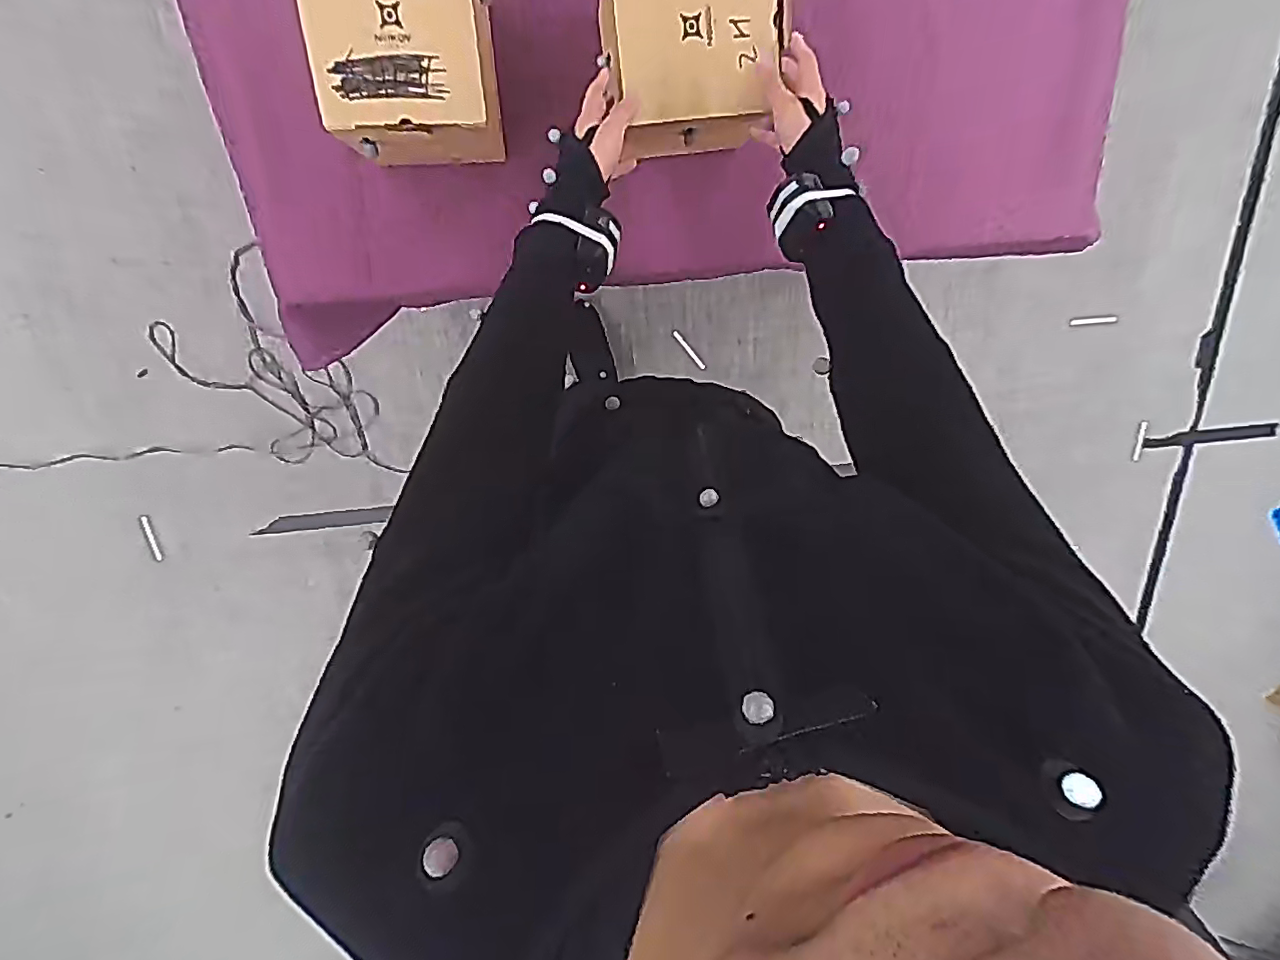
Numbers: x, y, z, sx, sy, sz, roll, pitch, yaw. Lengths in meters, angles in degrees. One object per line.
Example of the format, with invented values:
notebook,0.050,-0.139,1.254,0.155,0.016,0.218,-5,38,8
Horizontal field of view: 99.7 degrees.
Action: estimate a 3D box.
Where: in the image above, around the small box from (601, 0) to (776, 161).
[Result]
small box,0.049,-0.495,0.642,0.179,0.176,0.168,-9,110,-5
